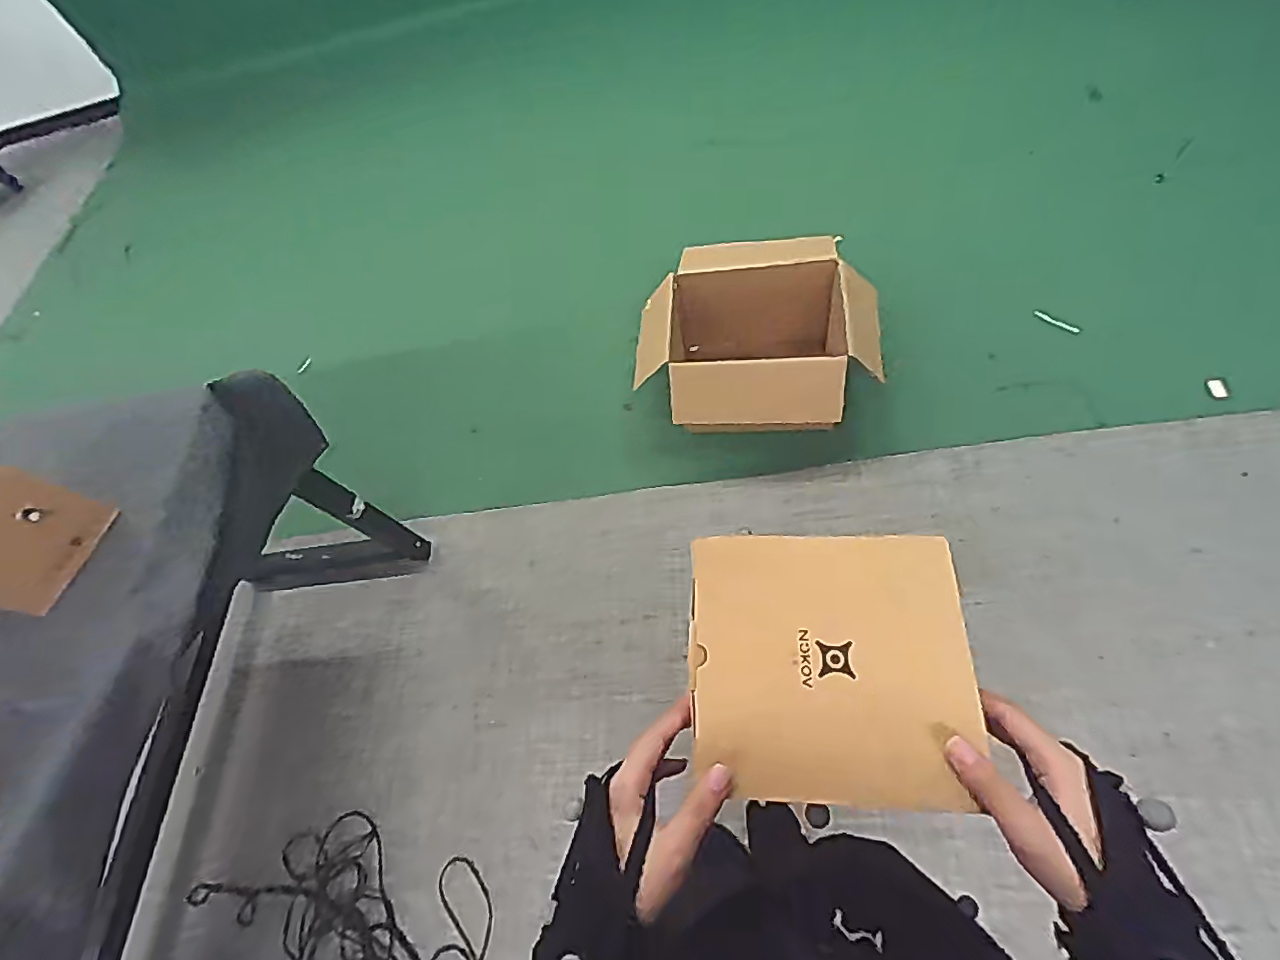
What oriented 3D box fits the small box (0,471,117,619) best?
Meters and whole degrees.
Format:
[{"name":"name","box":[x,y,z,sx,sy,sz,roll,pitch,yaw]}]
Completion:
[{"name":"small box","box":[-0.889,0.078,0.733,0.179,0.176,0.168,8,64,18]}]
